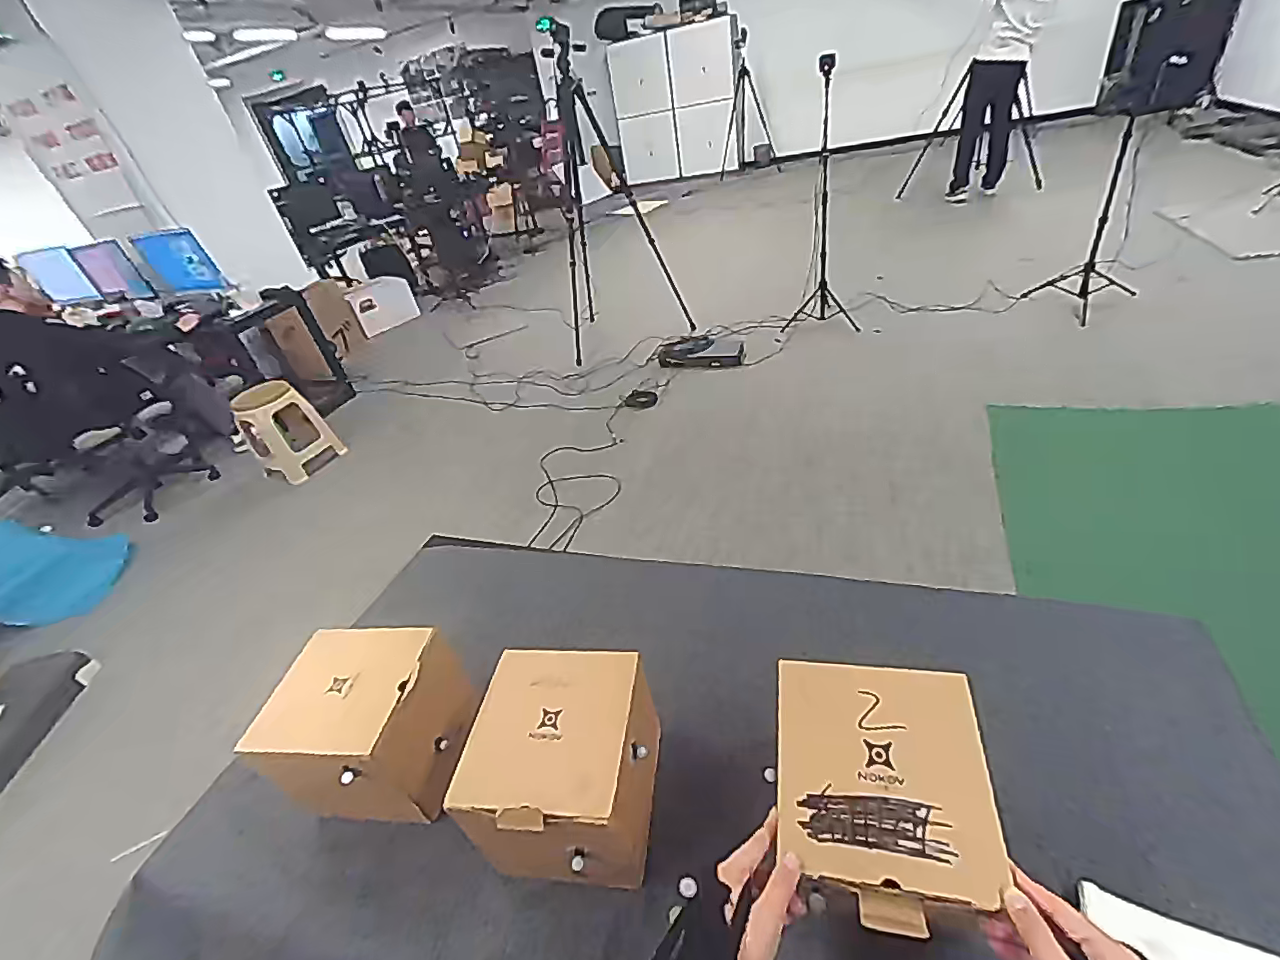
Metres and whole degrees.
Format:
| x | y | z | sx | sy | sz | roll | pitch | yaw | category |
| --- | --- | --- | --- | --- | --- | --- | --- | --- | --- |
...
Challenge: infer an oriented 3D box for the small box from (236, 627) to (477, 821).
| x | y | z | sx | sy | sz | roll | pitch | yaw | category |
| --- | --- | --- | --- | --- | --- | --- | --- | --- | --- |
| -0.337 | 0.306 | 0.682 | 0.179 | 0.176 | 0.168 | -4 | 36 | 11 | small box |

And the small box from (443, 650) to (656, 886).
| x | y | z | sx | sy | sz | roll | pitch | yaw | category |
| --- | --- | --- | --- | --- | --- | --- | --- | --- | --- |
| -0.080 | 0.313 | 0.595 | 0.168 | 0.176 | 0.179 | -2 | 35 | 12 | small box |
